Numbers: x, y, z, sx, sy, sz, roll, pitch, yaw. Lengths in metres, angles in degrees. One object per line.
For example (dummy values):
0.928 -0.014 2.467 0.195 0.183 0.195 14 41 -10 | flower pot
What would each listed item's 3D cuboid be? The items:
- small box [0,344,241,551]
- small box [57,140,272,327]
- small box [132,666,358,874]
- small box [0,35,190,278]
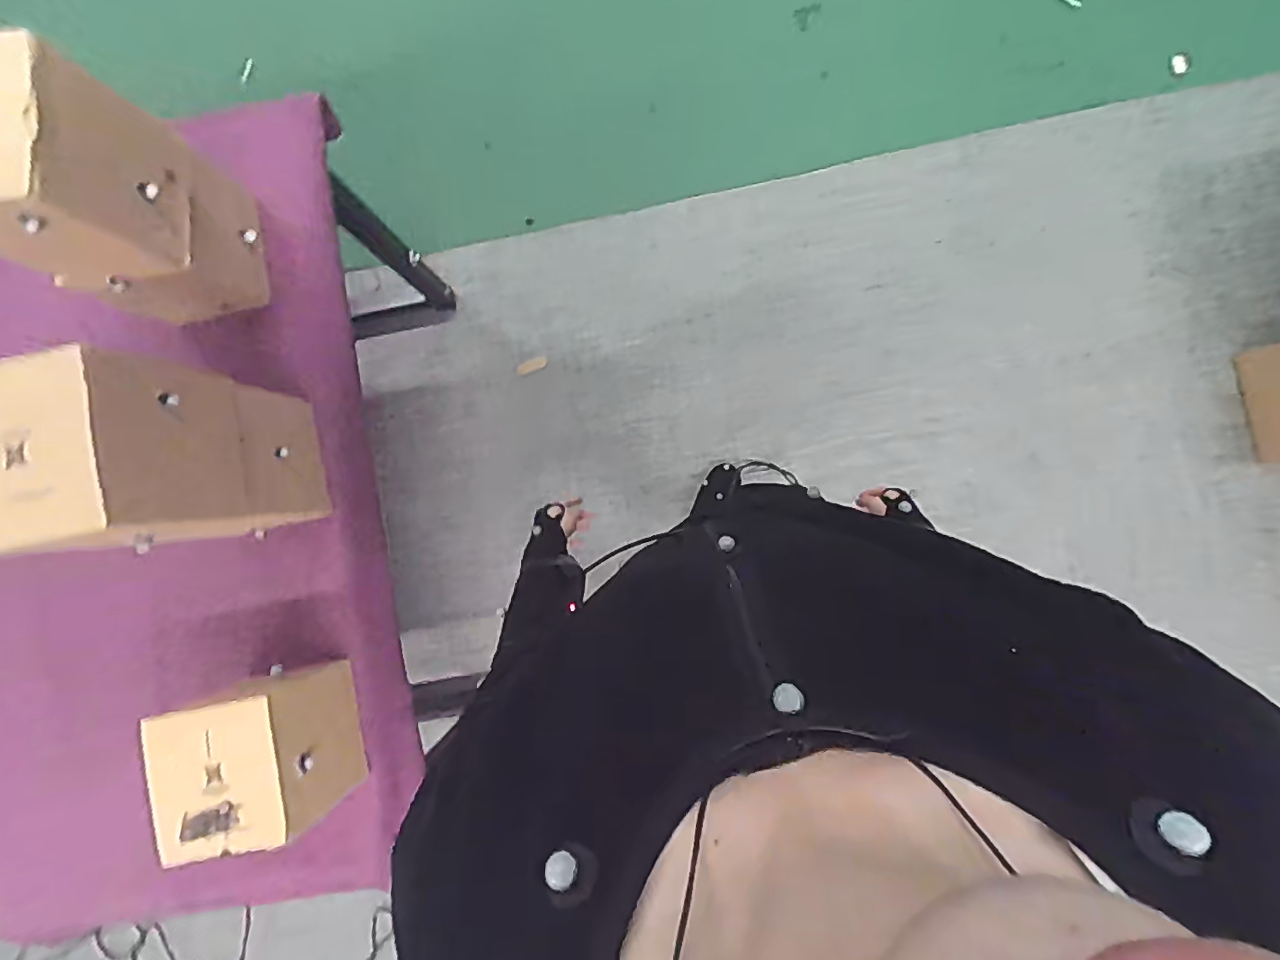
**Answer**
-0.571 -0.023 0.574 0.168 0.176 0.179 -11 87 5 | small box
-0.666 -0.339 0.766 0.168 0.176 0.179 -11 87 4 | small box
-0.500 0.365 0.709 0.168 0.176 0.179 -12 85 3 | small box
-0.656 -0.339 0.600 0.179 0.176 0.168 -3 87 3 | small box
